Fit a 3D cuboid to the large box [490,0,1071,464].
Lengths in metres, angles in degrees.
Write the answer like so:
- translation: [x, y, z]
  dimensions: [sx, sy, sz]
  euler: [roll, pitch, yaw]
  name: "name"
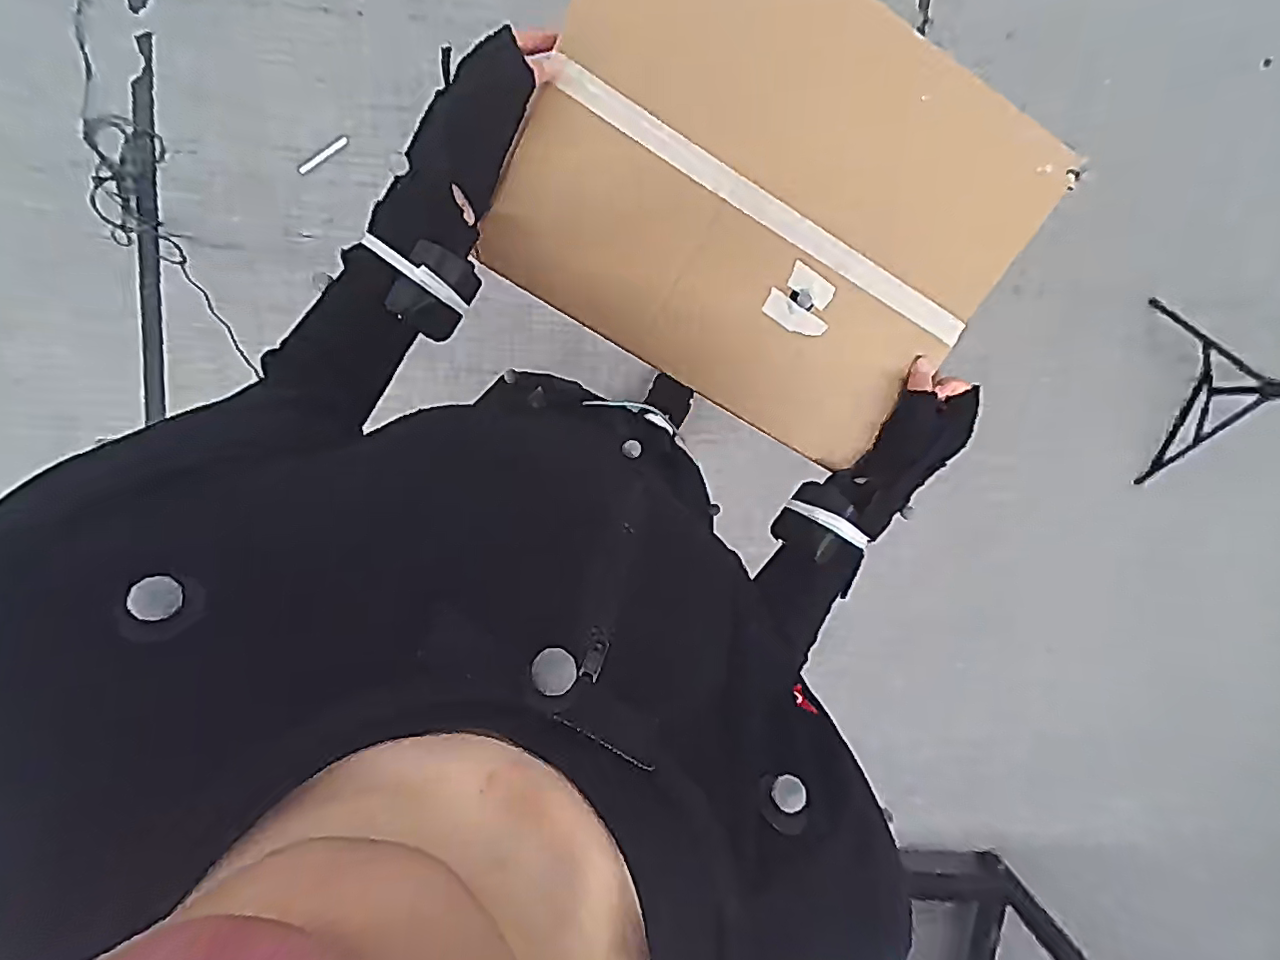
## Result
- translation: [0.111, -0.277, 0.598]
  dimensions: [0.408, 0.320, 0.320]
  euler: [29, 107, -10]
  name: "large box"
